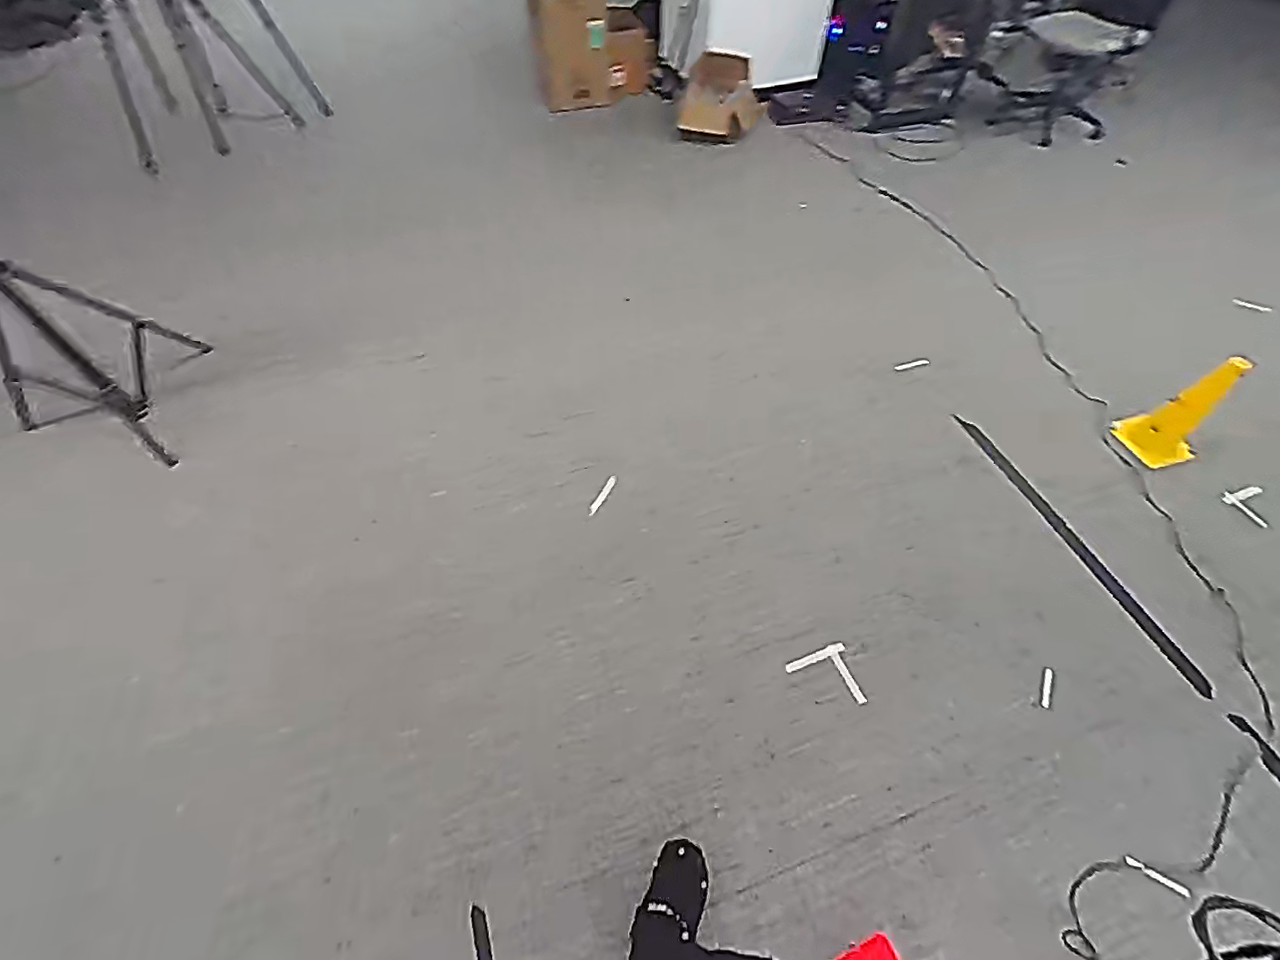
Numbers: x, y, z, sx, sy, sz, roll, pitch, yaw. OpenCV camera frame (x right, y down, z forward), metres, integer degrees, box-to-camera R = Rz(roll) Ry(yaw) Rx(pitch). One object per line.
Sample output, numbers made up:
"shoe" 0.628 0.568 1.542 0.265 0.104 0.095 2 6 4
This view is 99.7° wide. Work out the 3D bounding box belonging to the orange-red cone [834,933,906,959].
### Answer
"orange-red cone" 0.447 0.910 0.880 0.198 0.360 0.199 -20 57 -13
